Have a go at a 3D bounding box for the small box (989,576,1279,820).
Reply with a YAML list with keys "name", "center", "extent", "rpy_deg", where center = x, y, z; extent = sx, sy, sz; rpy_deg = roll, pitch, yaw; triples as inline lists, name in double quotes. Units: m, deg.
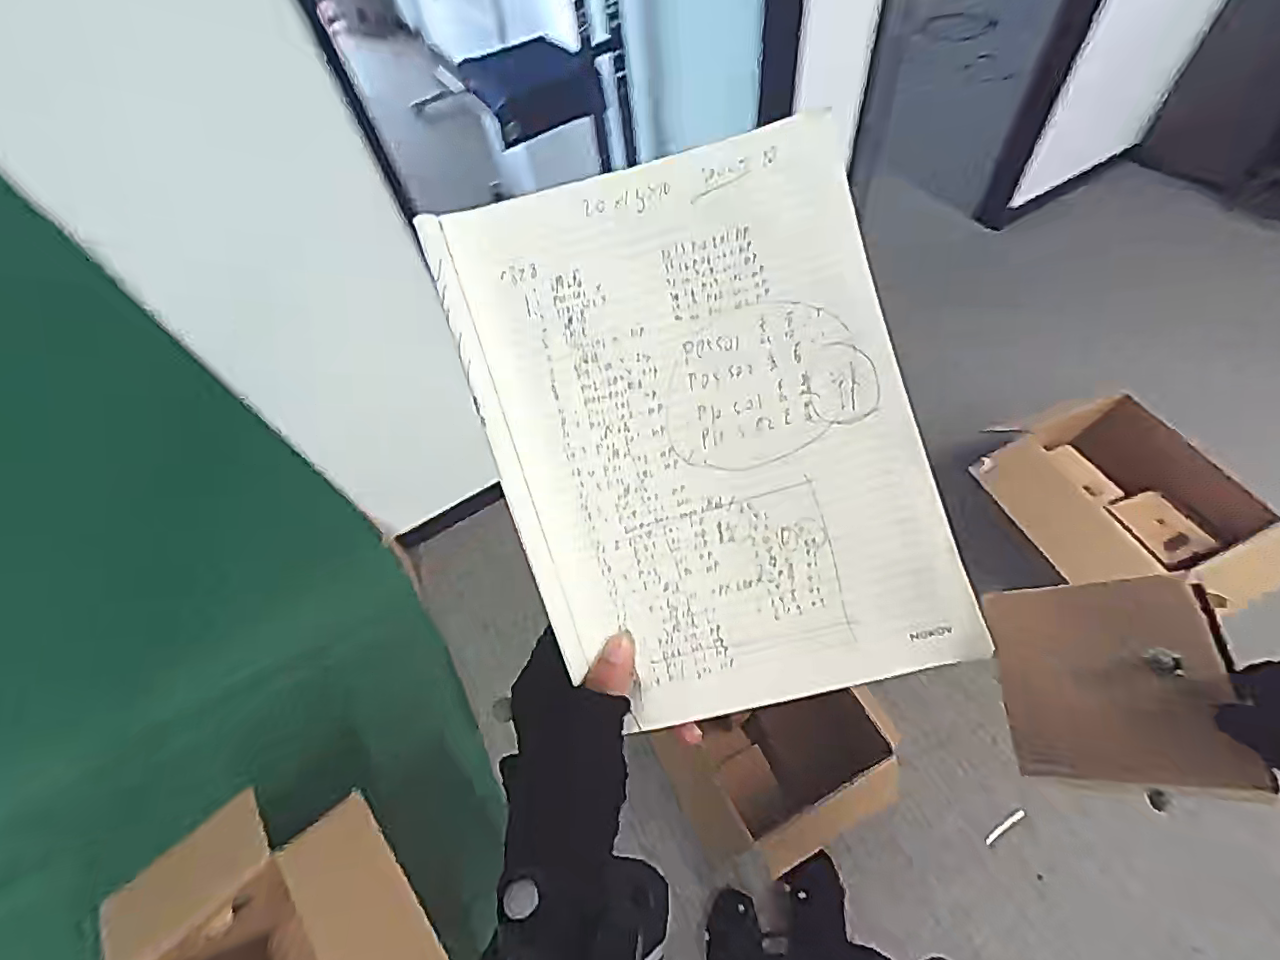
- name: "small box"
  center: [0.473, 0.215, 0.531]
  extent: [0.176, 0.168, 0.179]
  rpy_deg: [-21, 49, 40]
